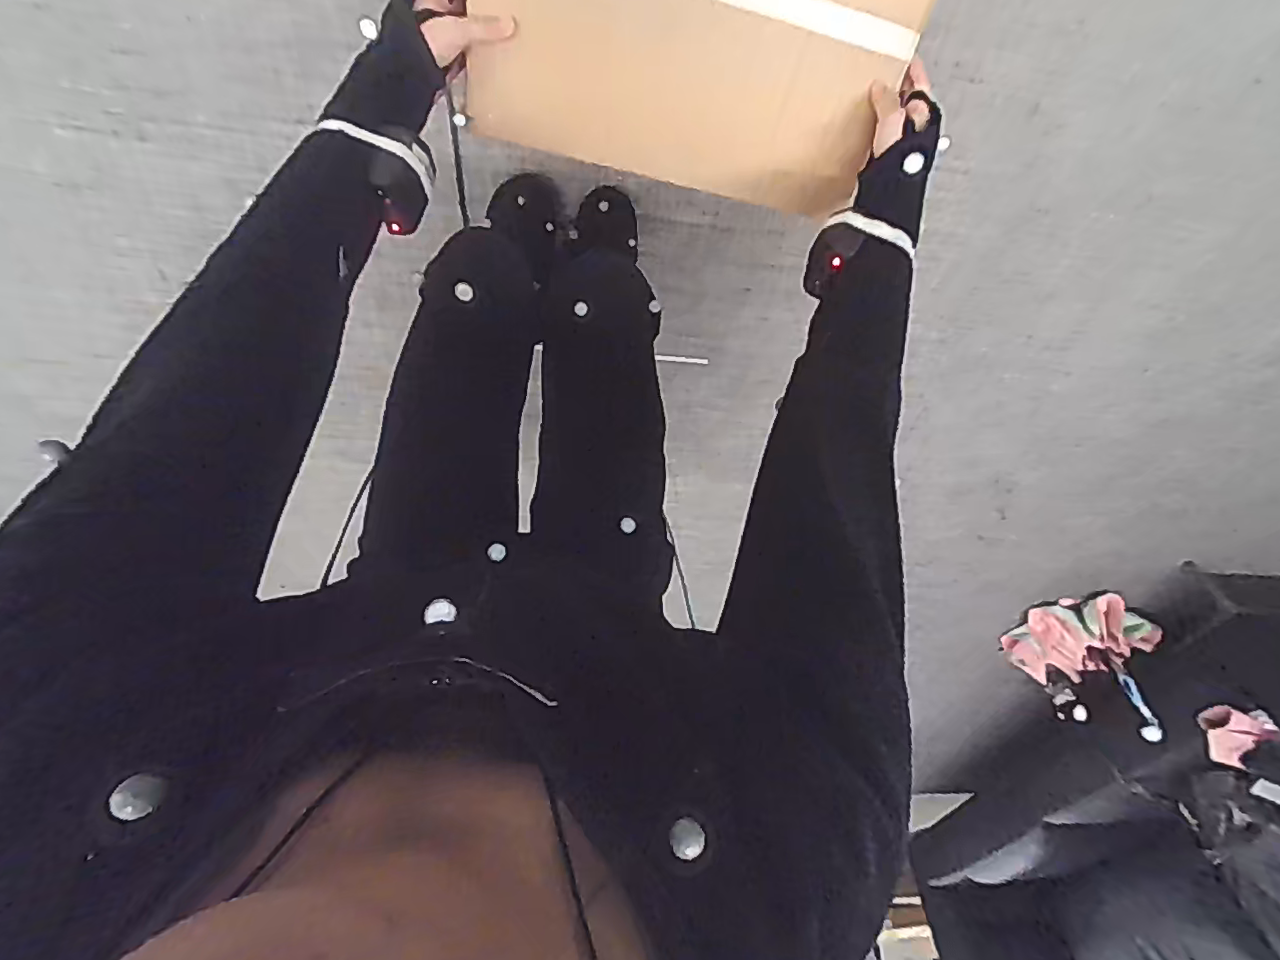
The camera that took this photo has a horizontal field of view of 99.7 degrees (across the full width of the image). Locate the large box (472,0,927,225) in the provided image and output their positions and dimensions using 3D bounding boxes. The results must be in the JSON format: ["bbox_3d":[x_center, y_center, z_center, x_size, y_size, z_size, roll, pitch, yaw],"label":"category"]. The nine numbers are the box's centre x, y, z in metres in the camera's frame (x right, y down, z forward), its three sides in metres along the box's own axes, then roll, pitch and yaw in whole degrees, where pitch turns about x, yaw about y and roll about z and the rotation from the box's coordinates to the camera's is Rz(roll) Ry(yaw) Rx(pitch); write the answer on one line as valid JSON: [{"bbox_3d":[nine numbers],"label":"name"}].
[{"bbox_3d":[0.051,-0.524,0.598,0.408,0.320,0.320,8,128,-11],"label":"large box"}]
